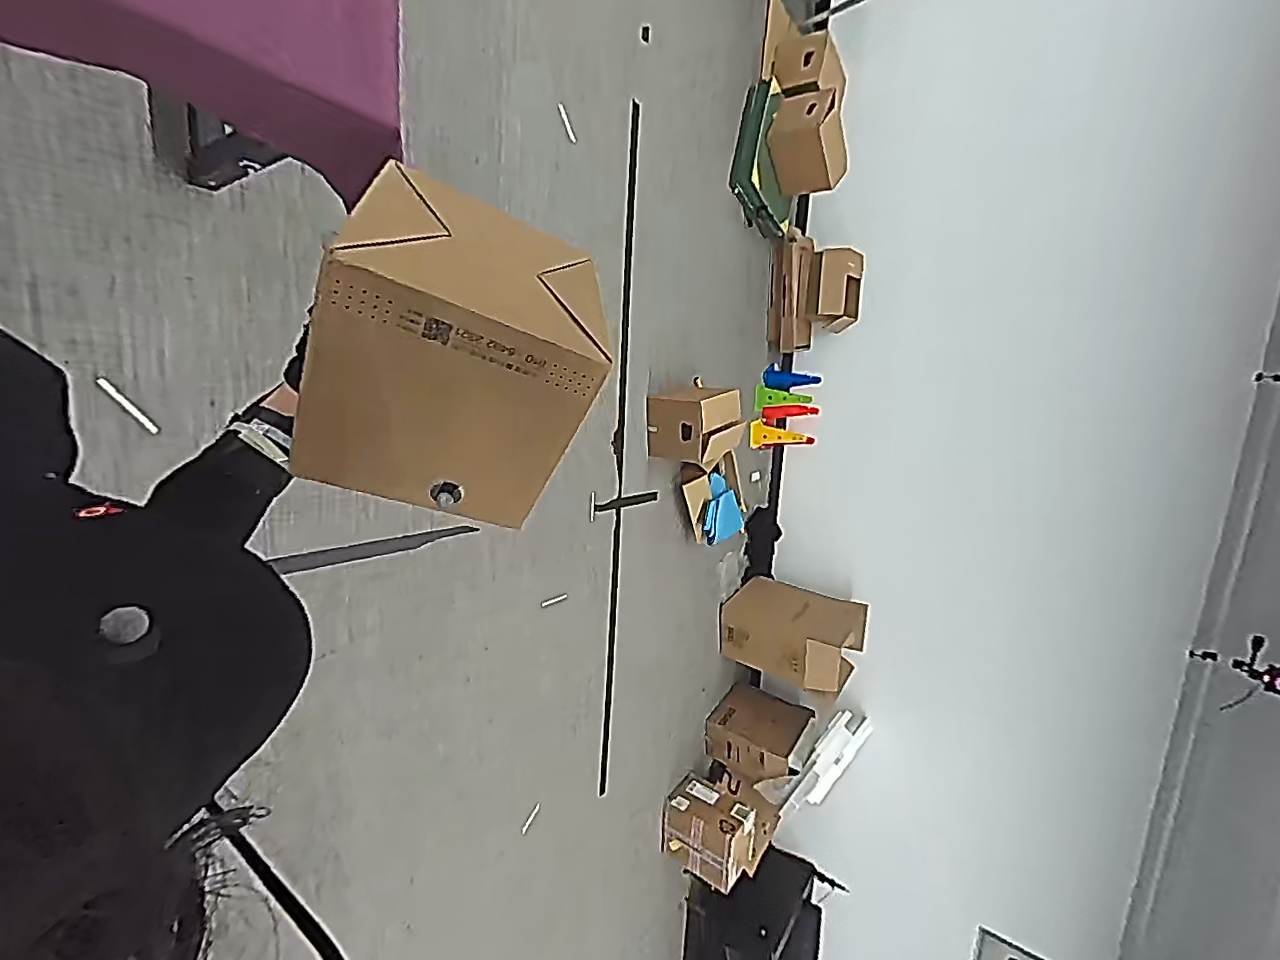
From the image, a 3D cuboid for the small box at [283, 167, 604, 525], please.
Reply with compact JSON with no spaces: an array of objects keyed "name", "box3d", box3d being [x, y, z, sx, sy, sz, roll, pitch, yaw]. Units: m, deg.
[{"name":"small box","box3d":[-0.138,-0.099,0.405,0.168,0.179,0.176,18,128,-25]}]
